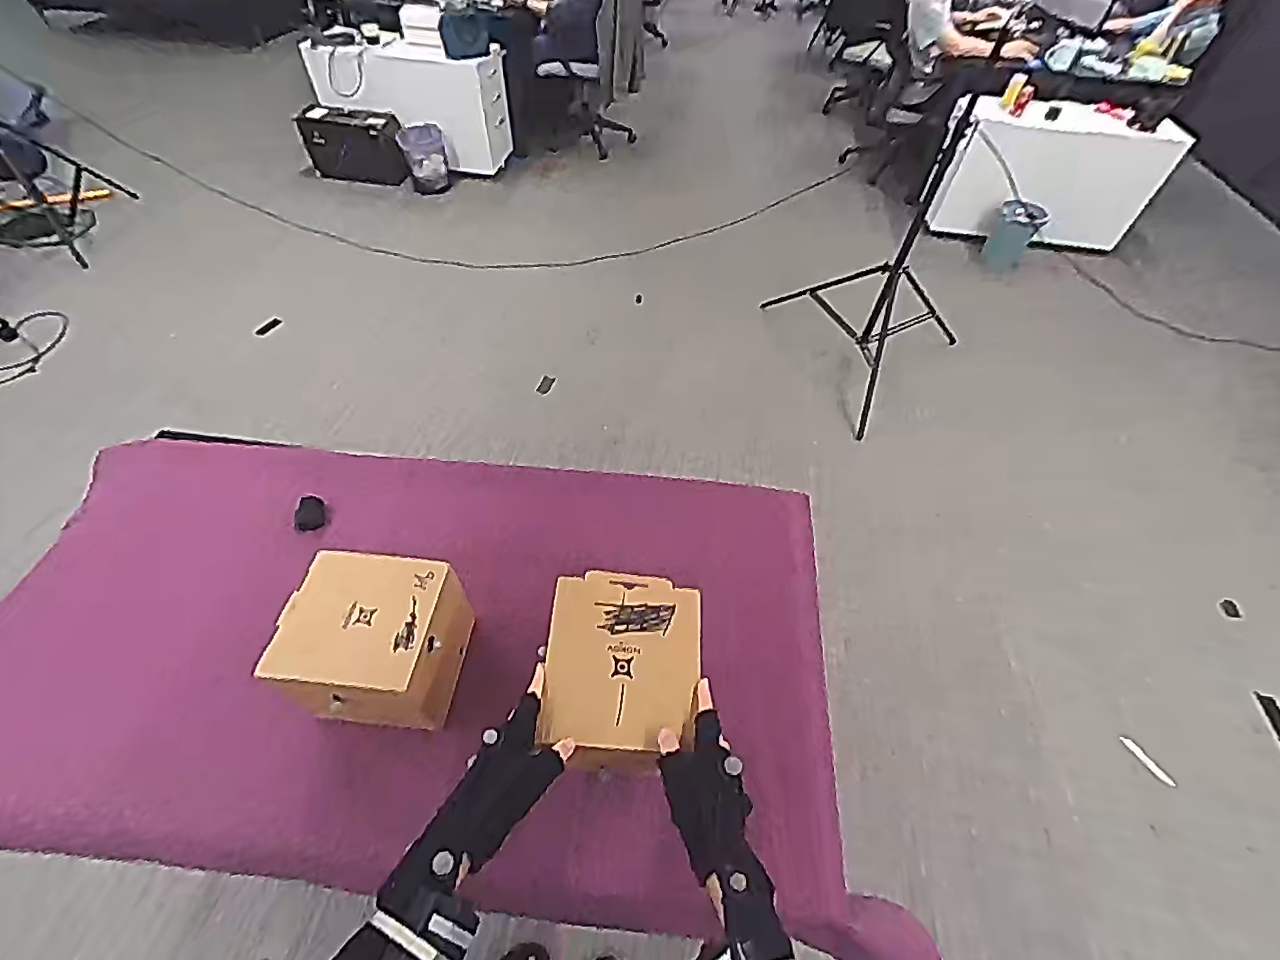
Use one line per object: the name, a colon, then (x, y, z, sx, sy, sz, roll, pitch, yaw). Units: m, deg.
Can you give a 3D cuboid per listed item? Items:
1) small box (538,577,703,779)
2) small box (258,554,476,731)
small box: (-0.023, 0.237, 0.639, 0.168, 0.176, 0.179, 6, 53, -3)
small box: (-0.336, 0.216, 0.711, 0.179, 0.176, 0.168, 5, 50, 2)
